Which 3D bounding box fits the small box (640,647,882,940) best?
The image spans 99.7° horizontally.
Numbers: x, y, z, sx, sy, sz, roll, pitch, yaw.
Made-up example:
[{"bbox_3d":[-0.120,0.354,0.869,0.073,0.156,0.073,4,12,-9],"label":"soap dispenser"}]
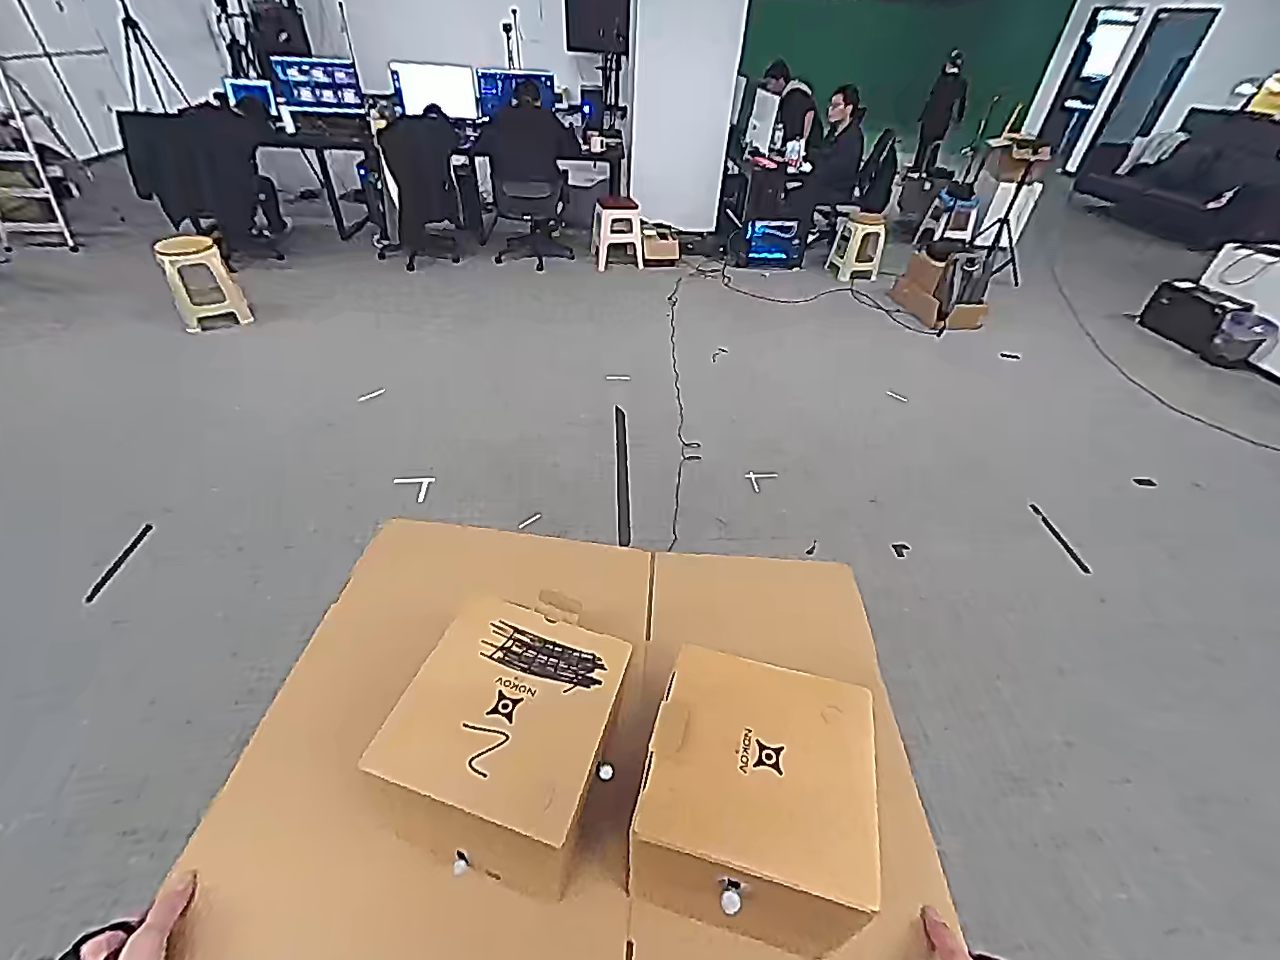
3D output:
[{"bbox_3d":[0.105,0.287,0.497,0.179,0.176,0.168,9,41,12],"label":"small box"}]
